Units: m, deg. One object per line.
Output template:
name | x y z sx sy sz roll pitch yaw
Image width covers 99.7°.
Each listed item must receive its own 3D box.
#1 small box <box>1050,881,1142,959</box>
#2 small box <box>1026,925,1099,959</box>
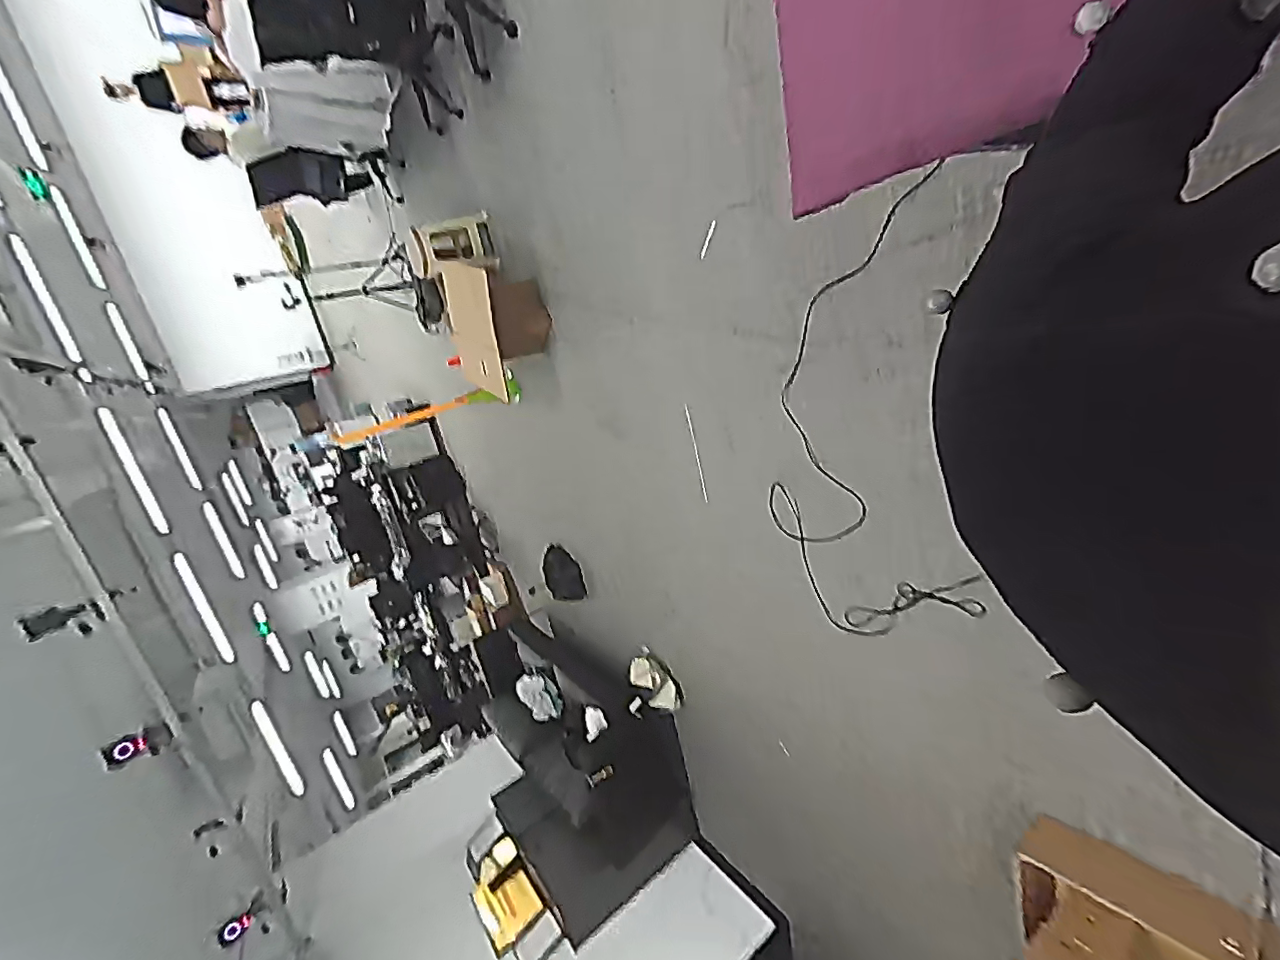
small box | 1.315 1.321 1.558 0.168 0.176 0.179 0 111 54
small box | 1.166 1.385 1.474 0.168 0.176 0.179 8 117 54
